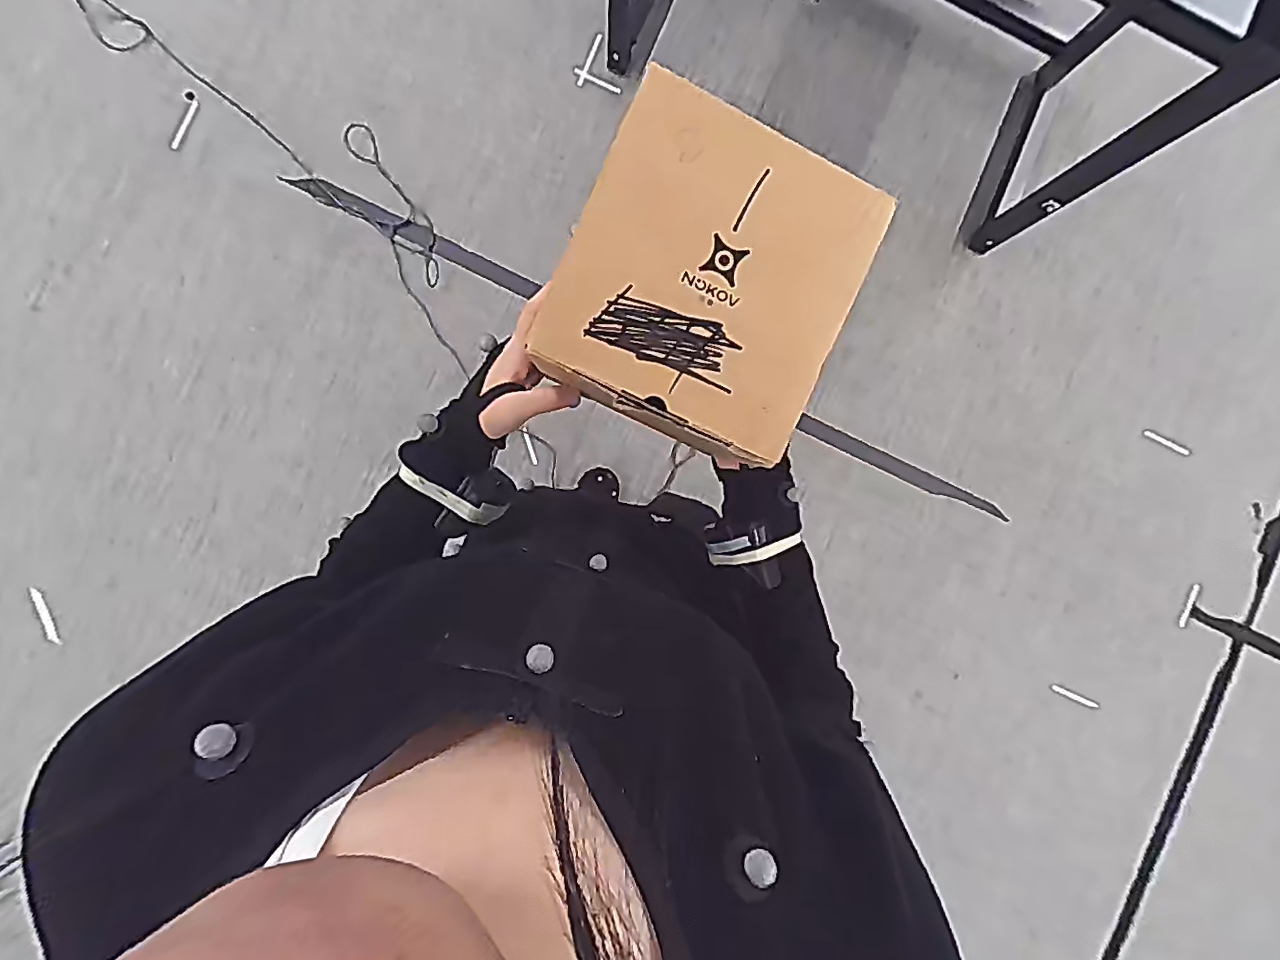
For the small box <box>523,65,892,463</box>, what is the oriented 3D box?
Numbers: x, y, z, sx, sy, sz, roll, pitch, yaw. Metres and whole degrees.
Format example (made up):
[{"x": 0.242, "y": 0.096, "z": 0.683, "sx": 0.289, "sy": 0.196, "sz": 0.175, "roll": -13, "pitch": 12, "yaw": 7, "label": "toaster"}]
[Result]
[{"x": 0.035, "y": -0.127, "z": 0.392, "sx": 0.168, "sy": 0.176, "sz": 0.179, "roll": 25, "pitch": 92, "yaw": -8, "label": "small box"}]
